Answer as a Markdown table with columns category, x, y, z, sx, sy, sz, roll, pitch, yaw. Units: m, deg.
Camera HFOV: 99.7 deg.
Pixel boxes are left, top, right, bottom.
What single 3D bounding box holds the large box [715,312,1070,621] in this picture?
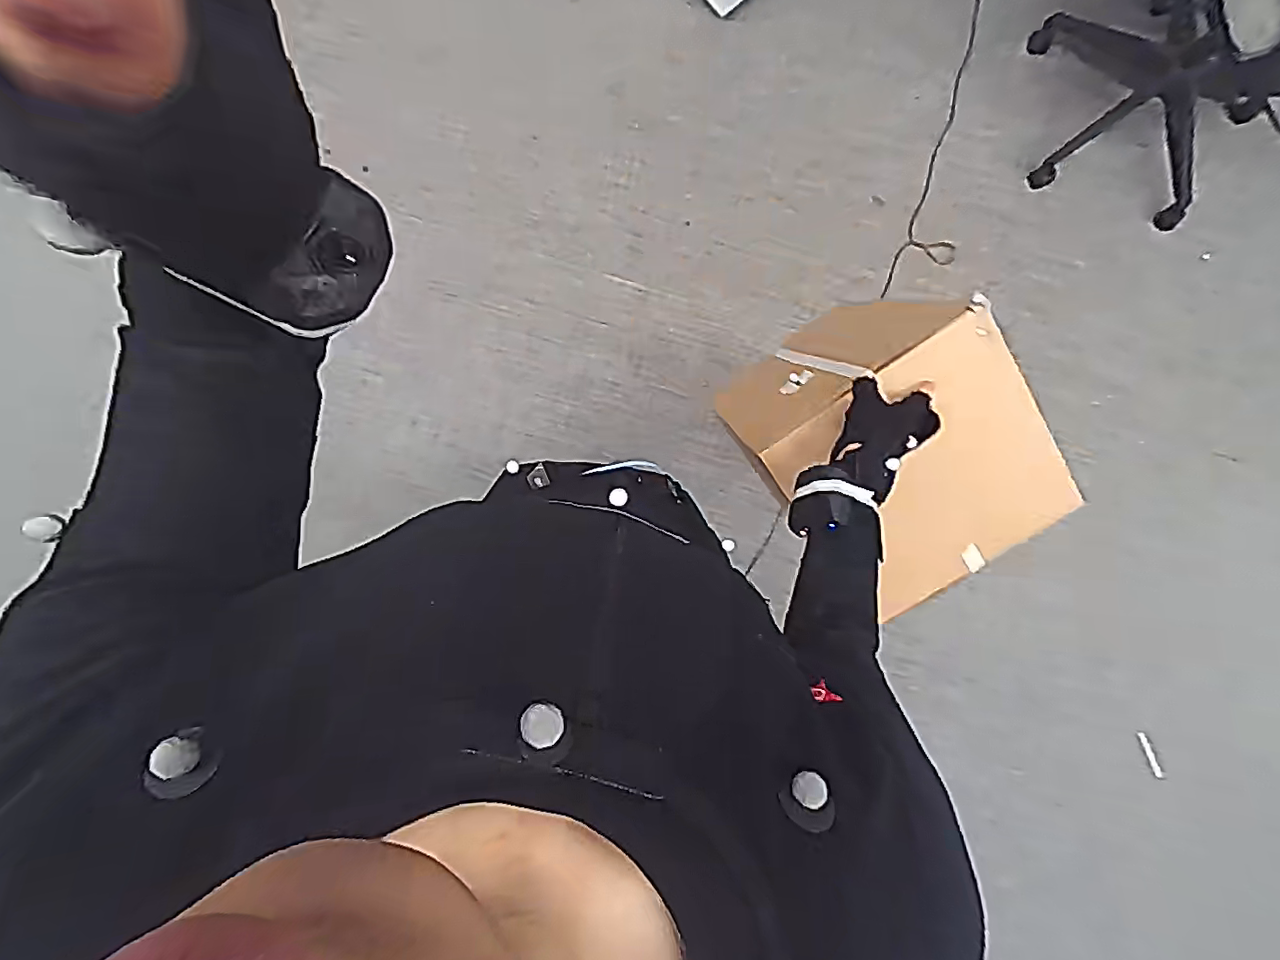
| category | x | y | z | sx | sy | sz | roll | pitch | yaw |
| --- | --- | --- | --- | --- | --- | --- | --- | --- | --- |
| large box | 0.358 | -0.054 | 0.878 | 0.320 | 0.408 | 0.320 | -34 | 106 | 10 |
